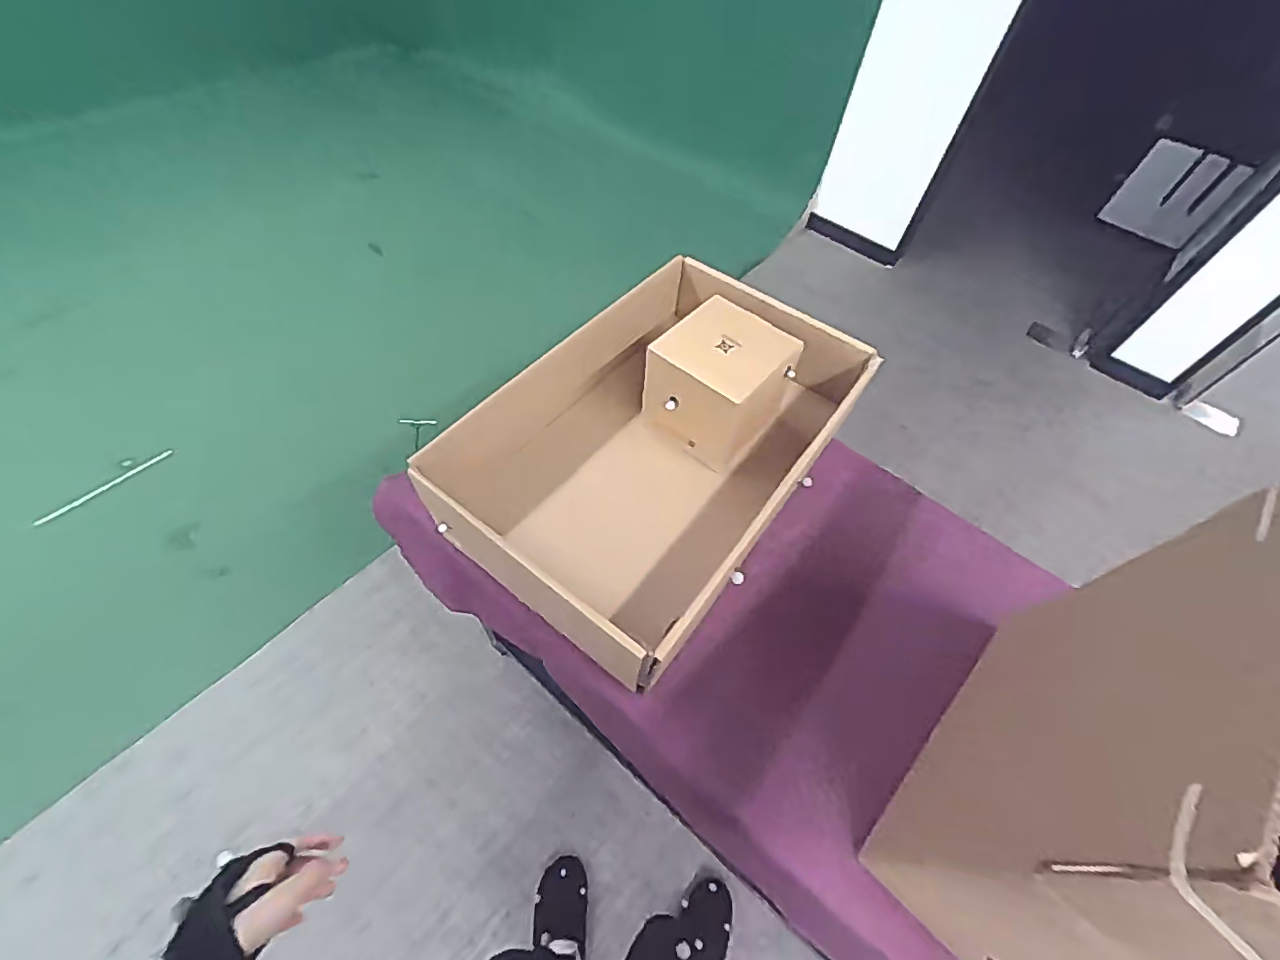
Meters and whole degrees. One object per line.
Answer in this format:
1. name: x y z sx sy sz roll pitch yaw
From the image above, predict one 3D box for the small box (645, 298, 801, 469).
1. small box: 0.123 -0.149 0.862 0.168 0.176 0.179 36 61 20
